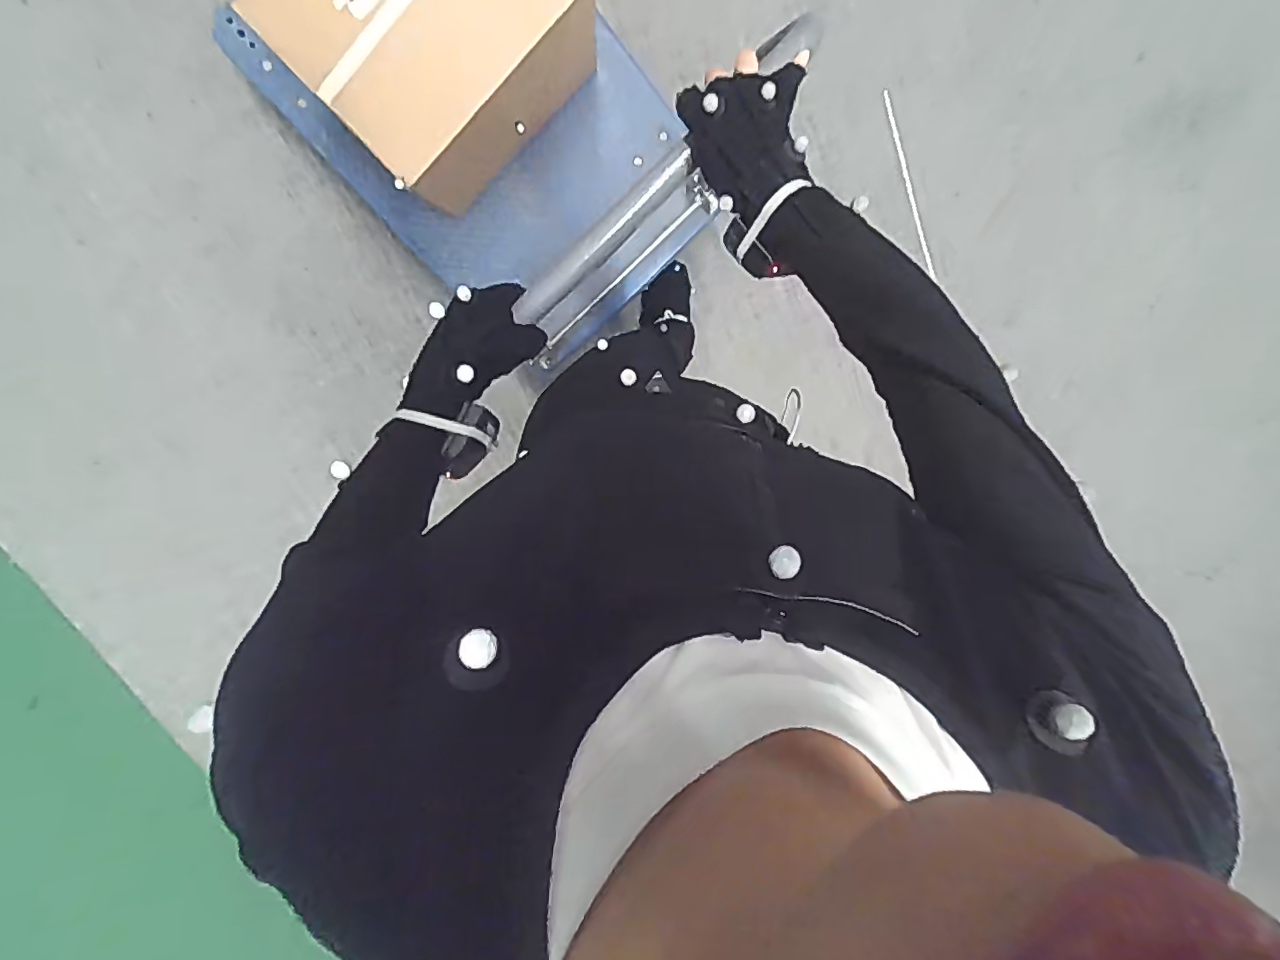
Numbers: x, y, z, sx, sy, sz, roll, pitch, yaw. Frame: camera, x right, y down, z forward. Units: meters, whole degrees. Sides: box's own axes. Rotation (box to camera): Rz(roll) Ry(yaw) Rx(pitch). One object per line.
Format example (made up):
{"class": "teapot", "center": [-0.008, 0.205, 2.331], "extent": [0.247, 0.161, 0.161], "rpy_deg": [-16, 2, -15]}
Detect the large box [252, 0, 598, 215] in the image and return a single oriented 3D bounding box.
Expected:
{"class": "large box", "center": [-0.315, -0.733, 0.908], "extent": [0.408, 0.320, 0.320], "rpy_deg": [-43, 105, 10]}
